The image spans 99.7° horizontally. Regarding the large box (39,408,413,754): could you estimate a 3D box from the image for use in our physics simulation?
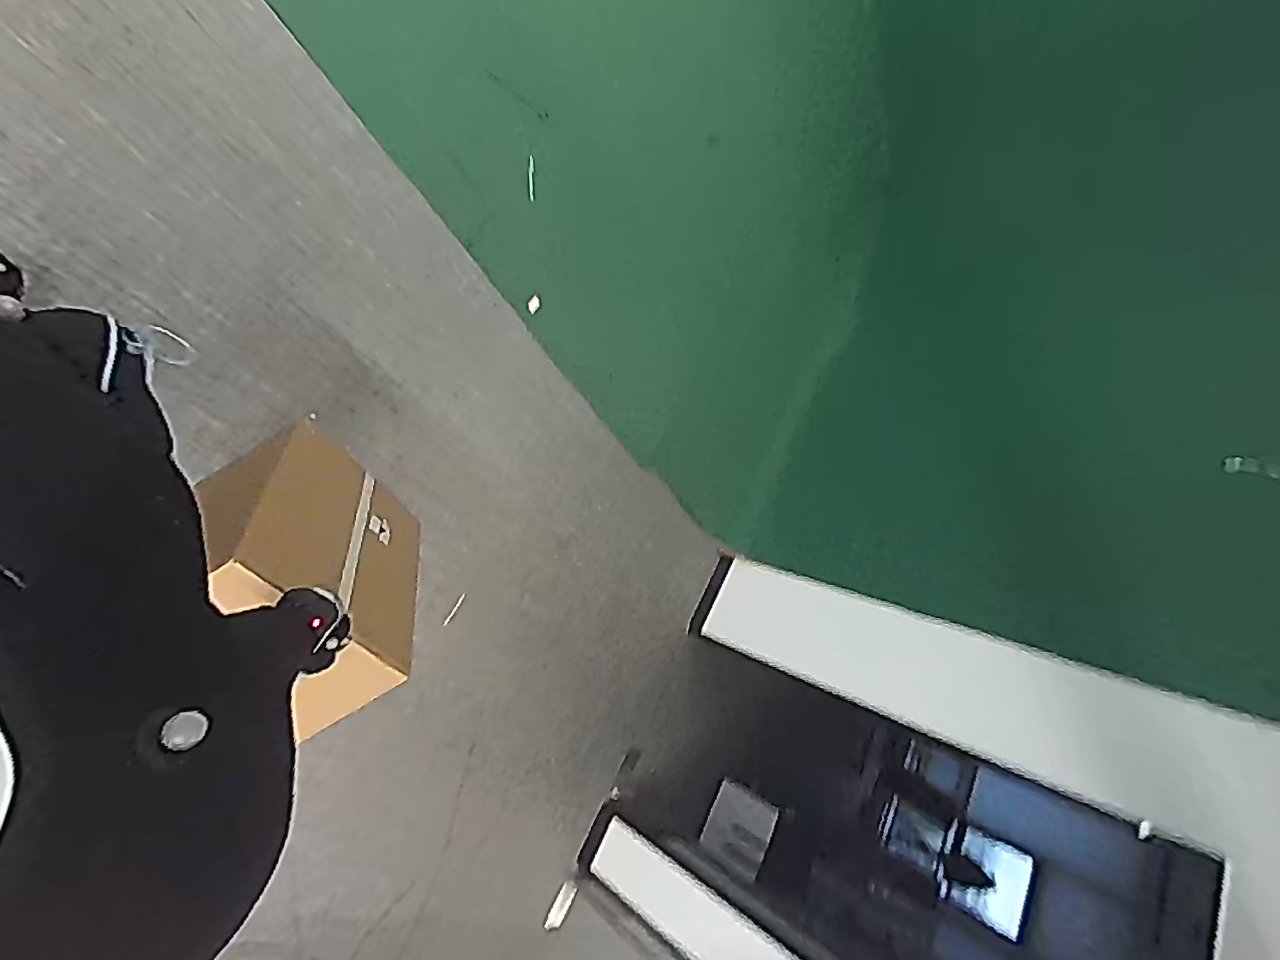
[{"bbox_3d":[-0.615,0.154,0.903,0.320,0.408,0.320,-30,127,1],"label":"large box"}]
